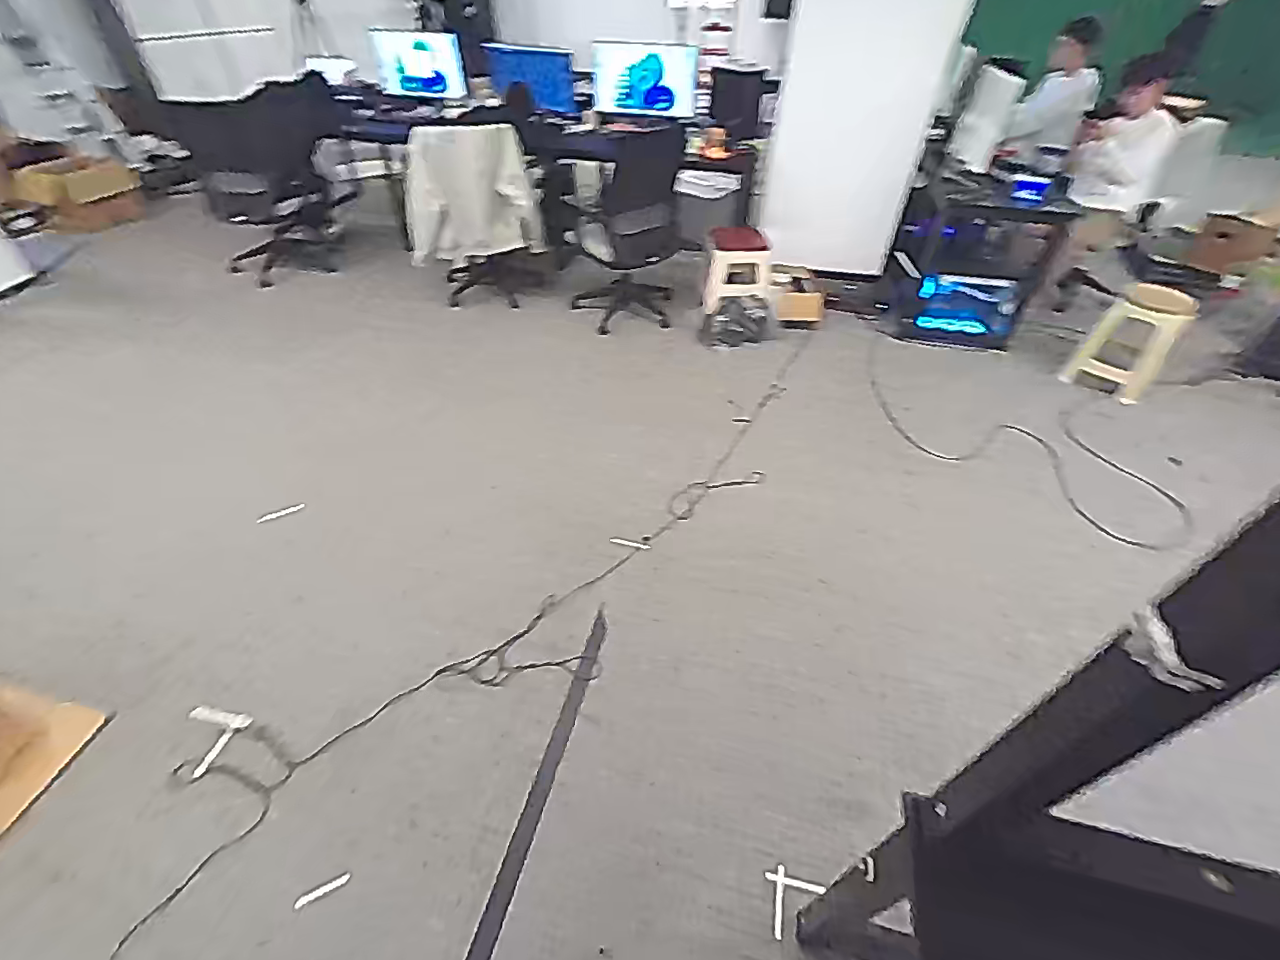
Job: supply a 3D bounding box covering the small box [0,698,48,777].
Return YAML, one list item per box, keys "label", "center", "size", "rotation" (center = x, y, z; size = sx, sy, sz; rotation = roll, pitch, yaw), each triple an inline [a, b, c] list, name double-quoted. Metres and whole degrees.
- label: "small box"
  center: [-1.659, 0.642, 1.335]
  size: [0.179, 0.176, 0.168]
  rotation: [6, 43, 5]
